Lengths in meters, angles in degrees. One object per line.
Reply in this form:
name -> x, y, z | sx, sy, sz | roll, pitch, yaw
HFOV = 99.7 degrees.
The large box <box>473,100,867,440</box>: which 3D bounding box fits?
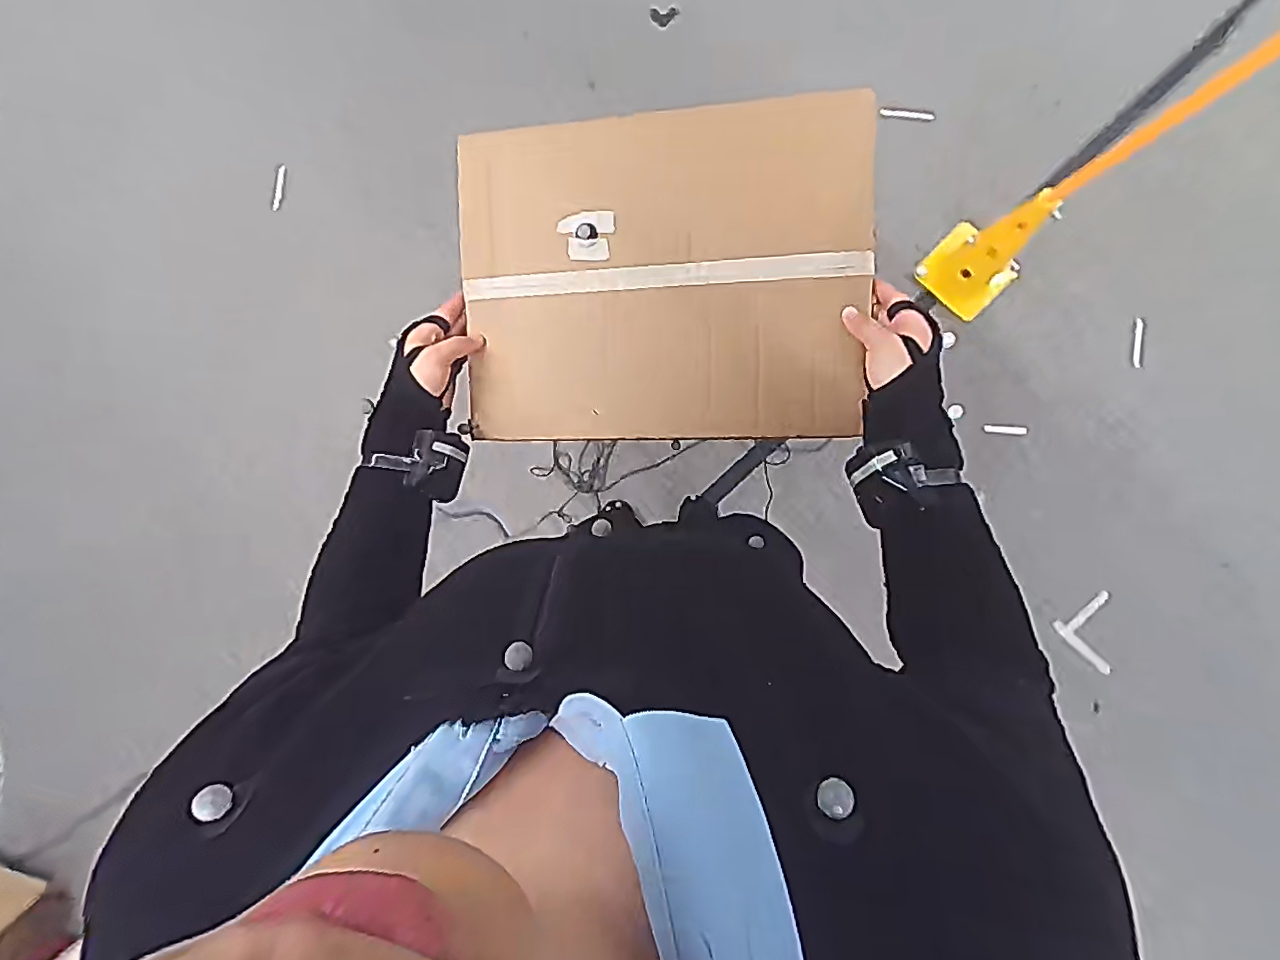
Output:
large box -> 0.049, -0.212, 0.694 | 0.408, 0.320, 0.320 | 0, 94, 11
